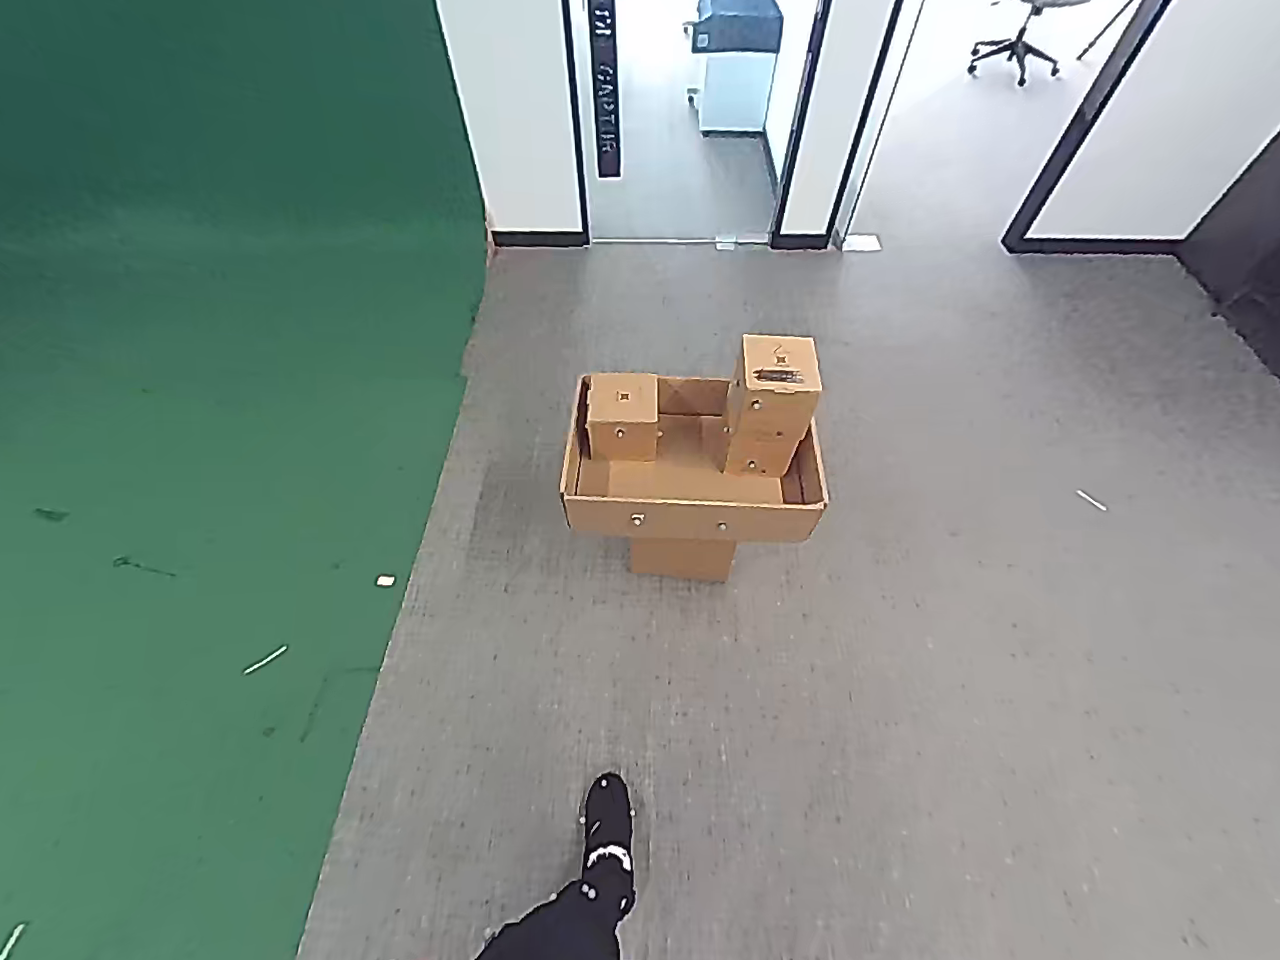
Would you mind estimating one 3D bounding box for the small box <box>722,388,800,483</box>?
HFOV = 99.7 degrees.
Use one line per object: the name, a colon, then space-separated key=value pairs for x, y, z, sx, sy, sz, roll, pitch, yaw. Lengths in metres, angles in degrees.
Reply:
small box: x=0.308 y=-0.115 z=1.411 sx=0.168 sy=0.176 sz=0.179 roll=4 pitch=56 yaw=1
